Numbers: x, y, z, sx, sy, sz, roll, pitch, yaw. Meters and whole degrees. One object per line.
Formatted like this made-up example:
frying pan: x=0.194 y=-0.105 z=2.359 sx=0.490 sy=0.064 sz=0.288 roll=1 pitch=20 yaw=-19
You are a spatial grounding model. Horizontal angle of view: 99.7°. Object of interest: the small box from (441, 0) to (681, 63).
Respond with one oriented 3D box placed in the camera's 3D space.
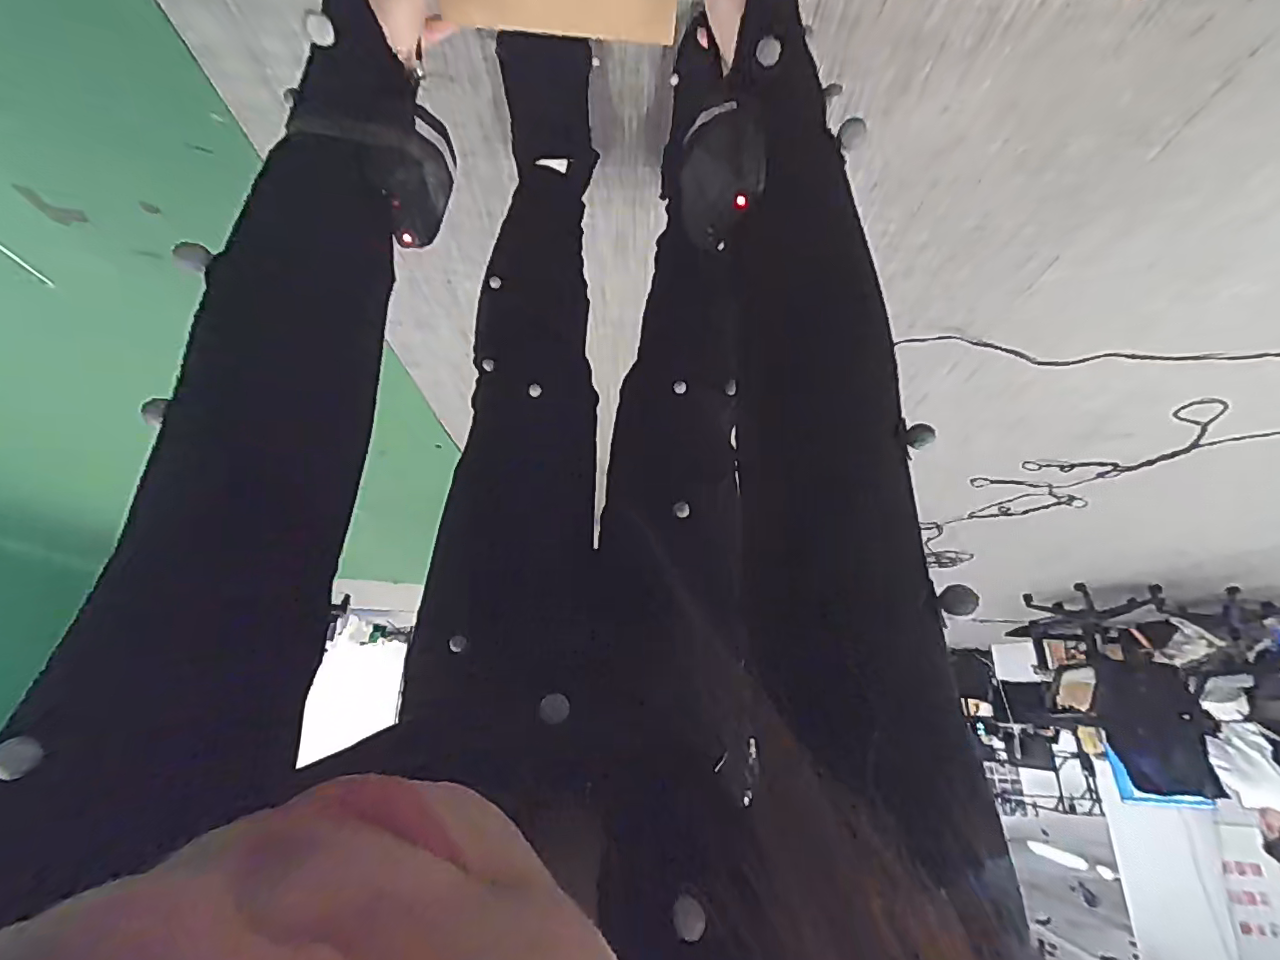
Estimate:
small box: x=-0.047 y=-0.418 z=0.345 sx=0.168 sy=0.176 sz=0.179 roll=5 pitch=159 yaw=-1
